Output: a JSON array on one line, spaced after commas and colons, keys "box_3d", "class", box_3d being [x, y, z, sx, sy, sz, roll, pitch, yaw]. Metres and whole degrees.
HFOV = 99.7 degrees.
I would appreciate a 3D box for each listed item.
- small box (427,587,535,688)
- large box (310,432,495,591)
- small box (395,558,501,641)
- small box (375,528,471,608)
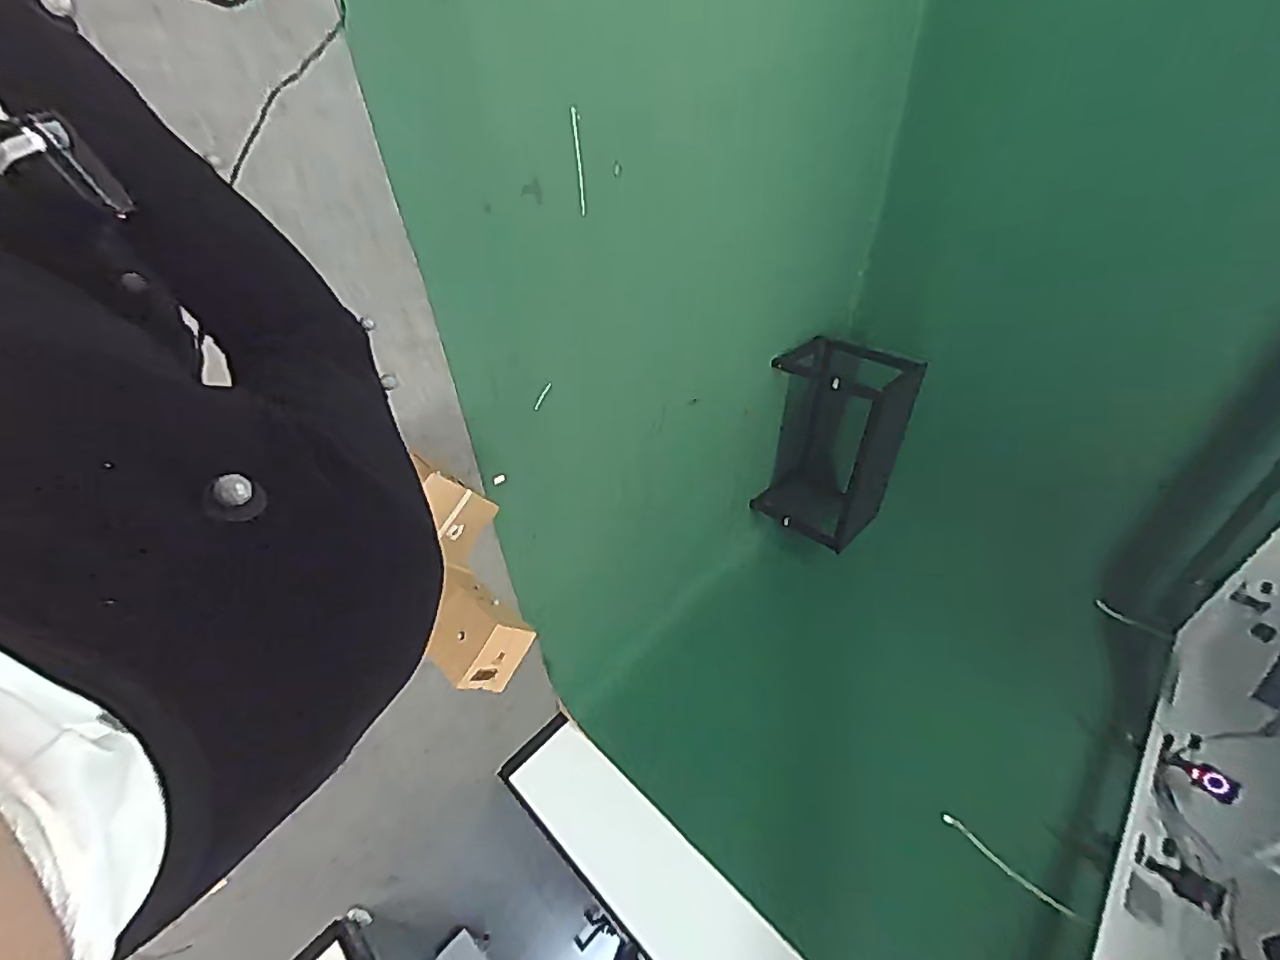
[{"box_3d": [-0.412, 0.403, 1.383, 0.179, 0.176, 0.168, -58, 146, -6], "class": "small box"}, {"box_3d": [-0.762, 0.121, 1.746, 0.408, 0.320, 0.320, -57, 147, -6], "class": "large box"}, {"box_3d": [-0.525, 0.336, 1.479, 0.168, 0.176, 0.179, -56, 145, -7], "class": "small box"}, {"box_3d": [-0.638, 0.271, 1.576, 0.179, 0.176, 0.168, -57, 146, -5], "class": "small box"}]
